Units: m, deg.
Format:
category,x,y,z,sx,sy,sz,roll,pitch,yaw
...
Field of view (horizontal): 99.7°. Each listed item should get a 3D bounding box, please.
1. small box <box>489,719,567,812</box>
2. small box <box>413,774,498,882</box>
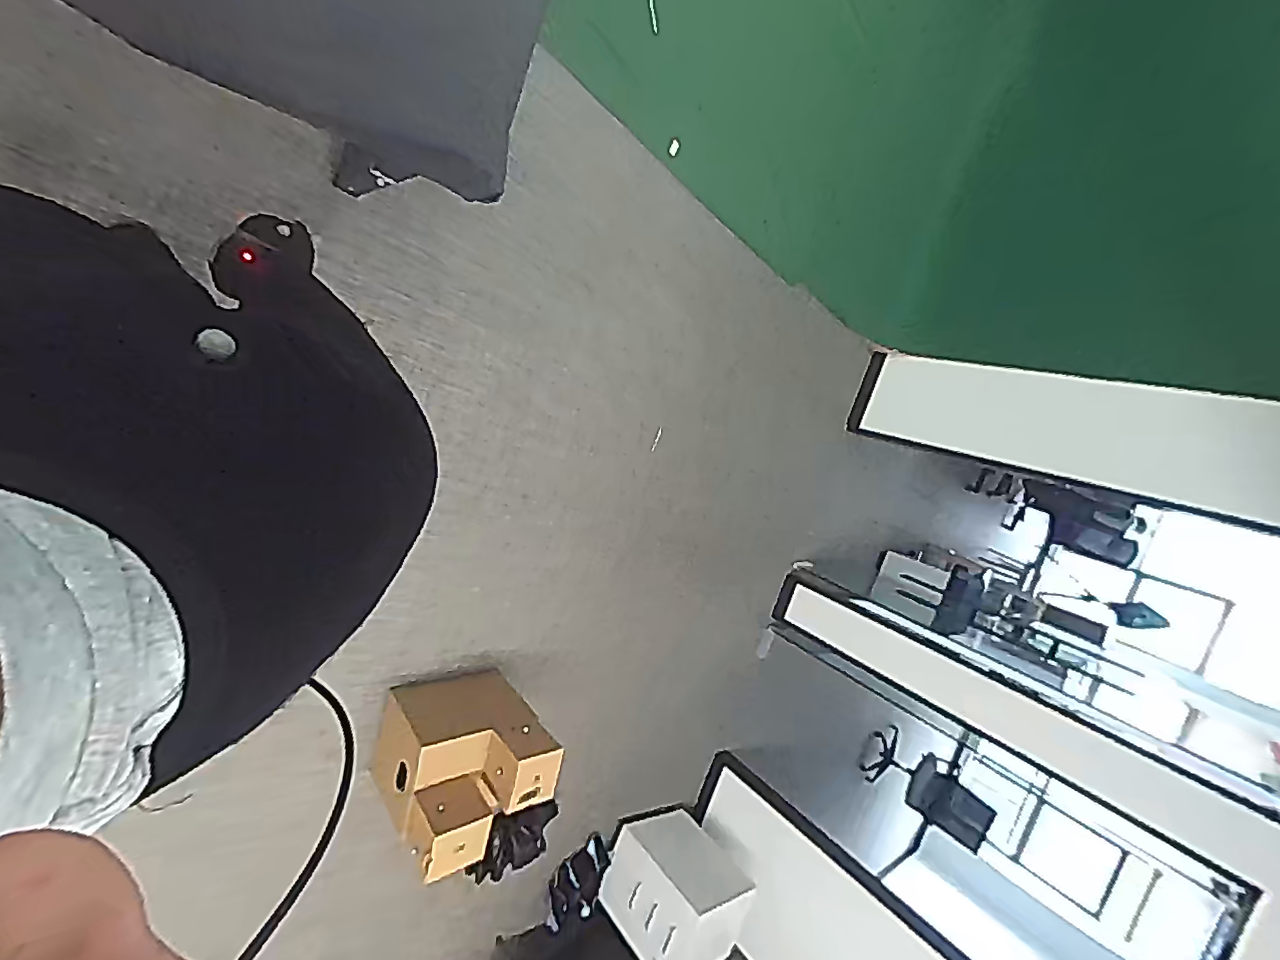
category,x,y,z,sx,sy,sz,roll,pitch,yaw
small box,-0.357,0.891,1.702,0.168,0.176,0.179,8,98,-44
small box,-0.544,1.005,1.578,0.179,0.176,0.168,2,109,-44
